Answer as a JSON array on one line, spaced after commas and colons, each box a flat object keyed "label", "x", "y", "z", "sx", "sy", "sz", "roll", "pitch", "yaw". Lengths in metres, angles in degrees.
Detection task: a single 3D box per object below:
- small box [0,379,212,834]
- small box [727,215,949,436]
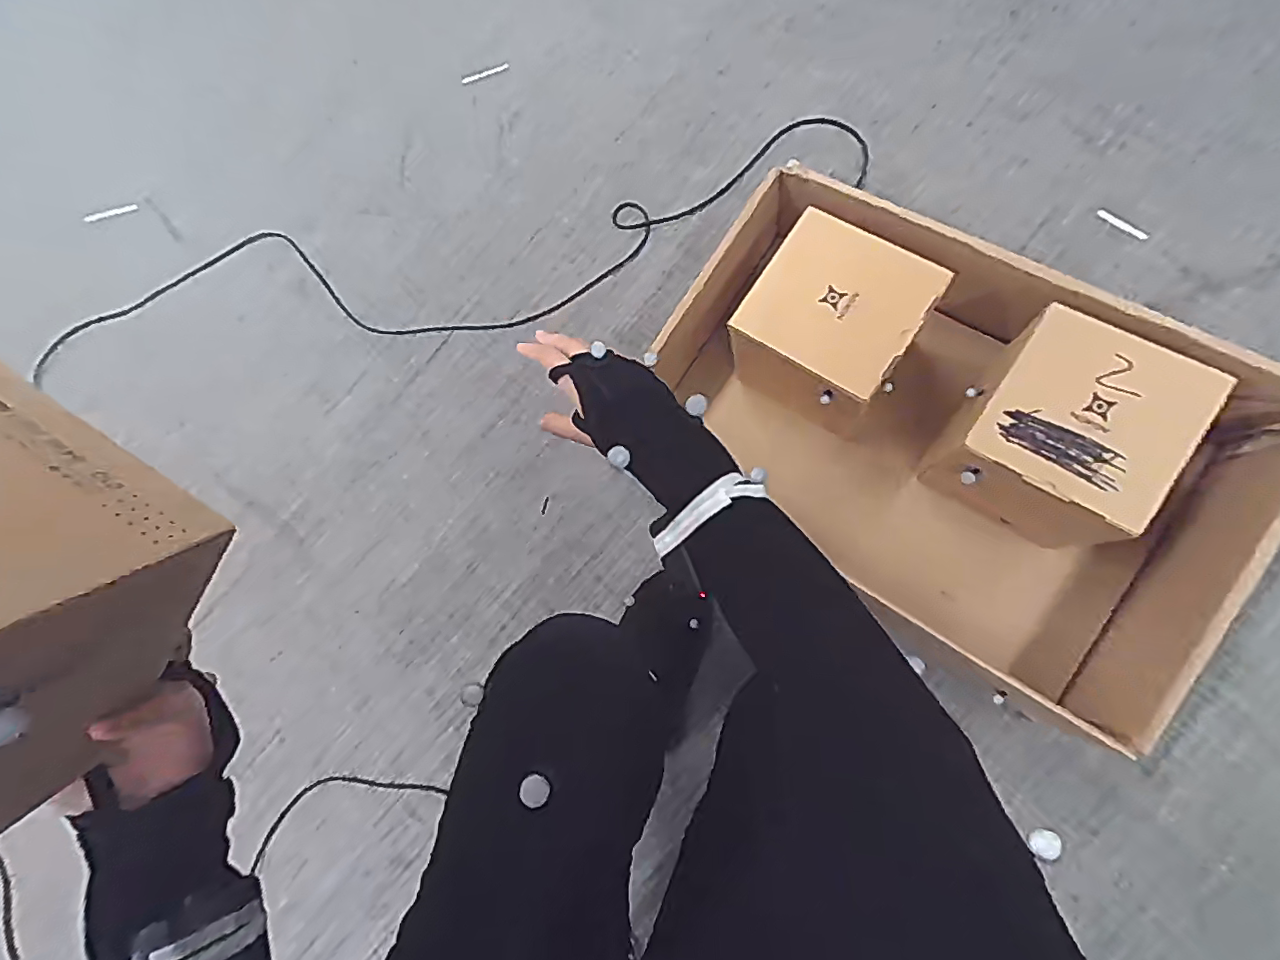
[{"label": "small box", "x": -0.322, "y": 0.065, "z": 0.207, "sx": 0.168, "sy": 0.176, "sz": 0.179, "roll": 38, "pitch": 108, "yaw": -4}, {"label": "small box", "x": 0.226, "y": -0.175, "z": 0.661, "sx": 0.179, "sy": 0.176, "sz": 0.168, "roll": 34, "pitch": 89, "yaw": 15}]
